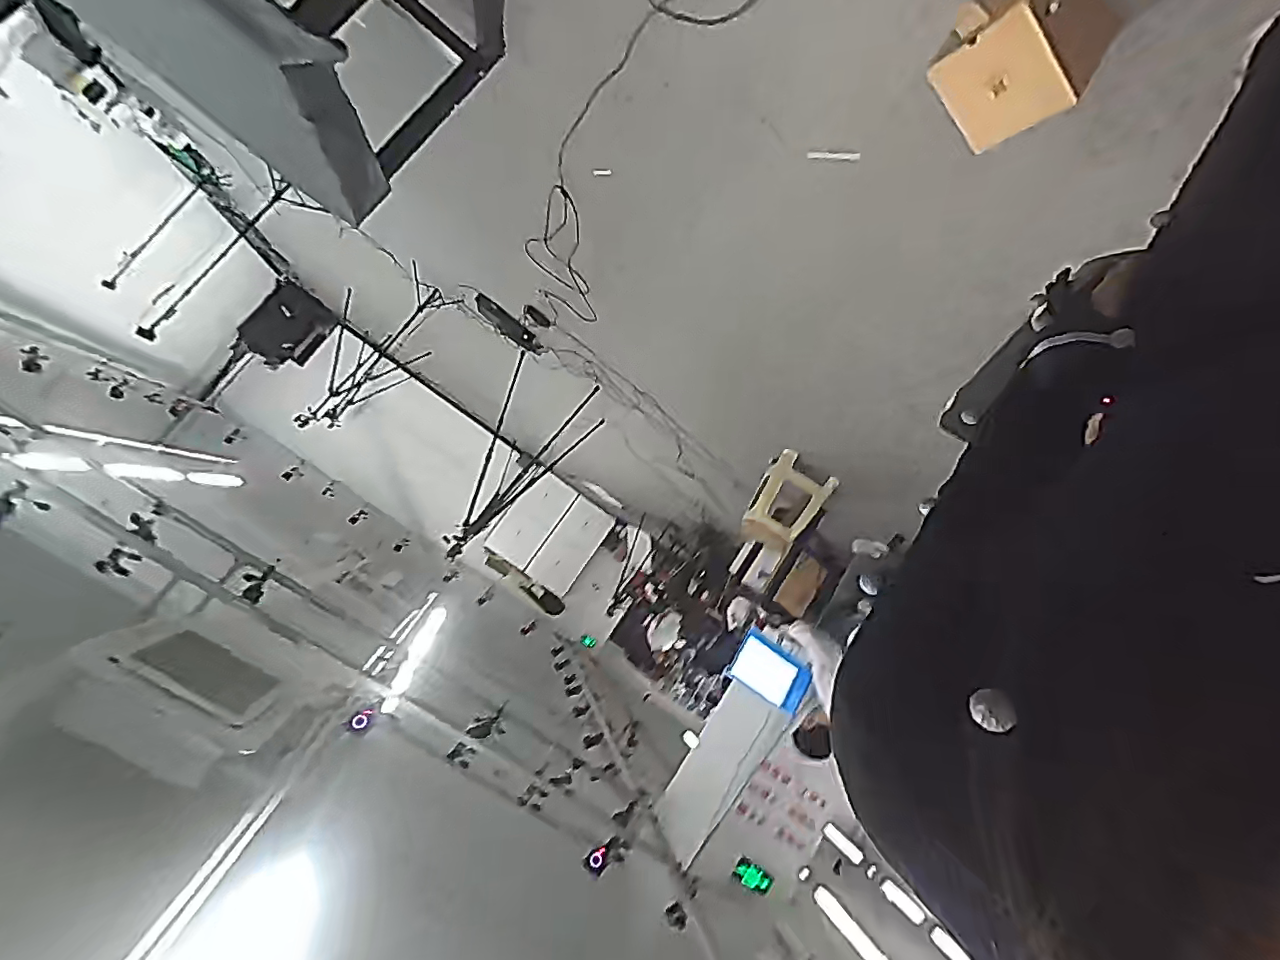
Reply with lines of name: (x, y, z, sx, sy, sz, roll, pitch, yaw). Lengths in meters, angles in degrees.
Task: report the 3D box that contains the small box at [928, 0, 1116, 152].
small box: (0.624, -0.697, 0.882, 0.179, 0.176, 0.168, 40, 167, -20)
